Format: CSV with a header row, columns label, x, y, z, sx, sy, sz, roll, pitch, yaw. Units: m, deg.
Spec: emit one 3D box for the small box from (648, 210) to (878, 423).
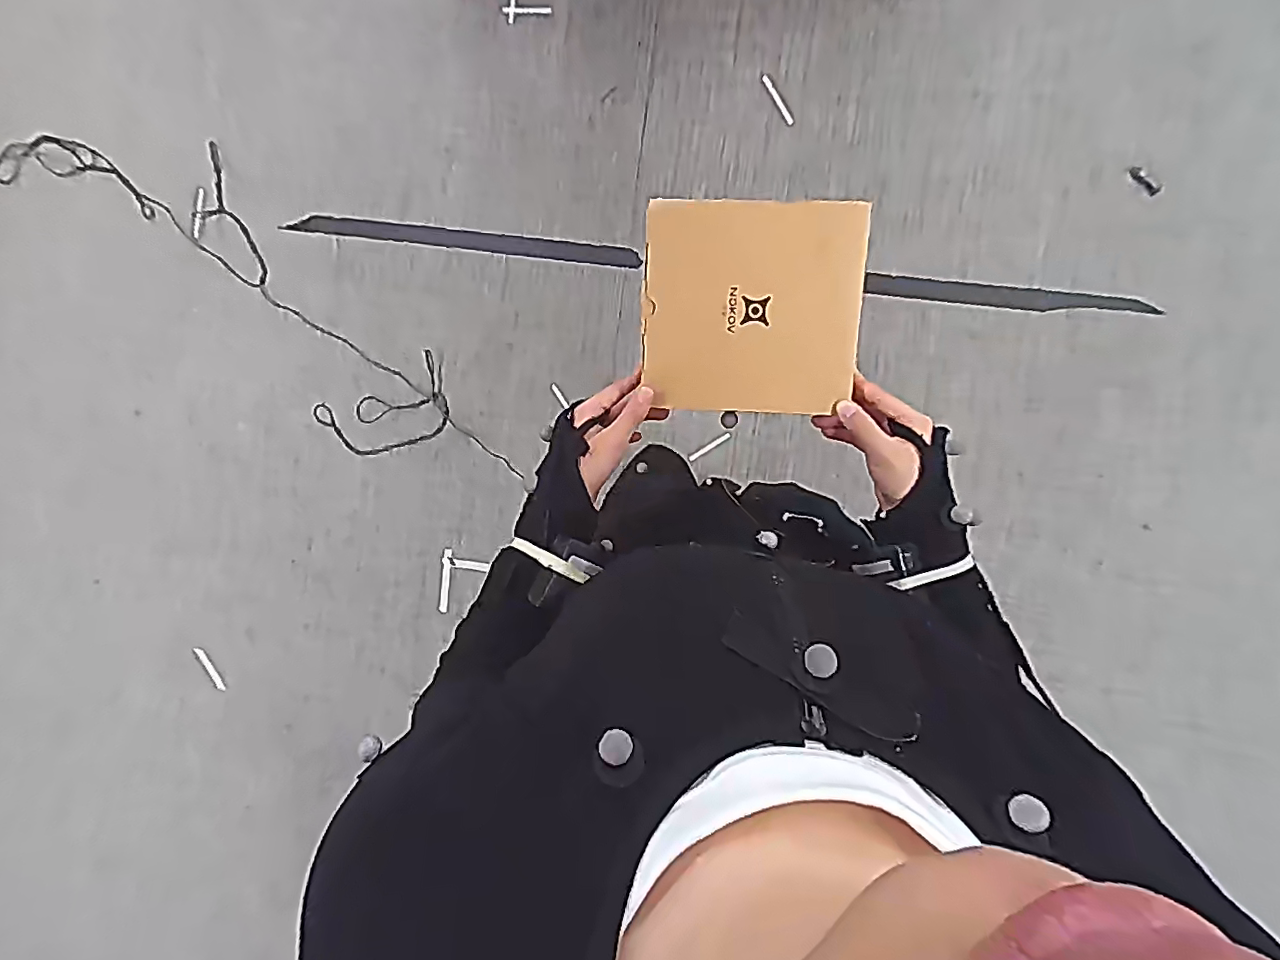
label,x,y,z,sx,sy,sz,roll,pitch,yaw
small box,0.107,-0.146,0.518,0.179,0.176,0.168,3,100,9
